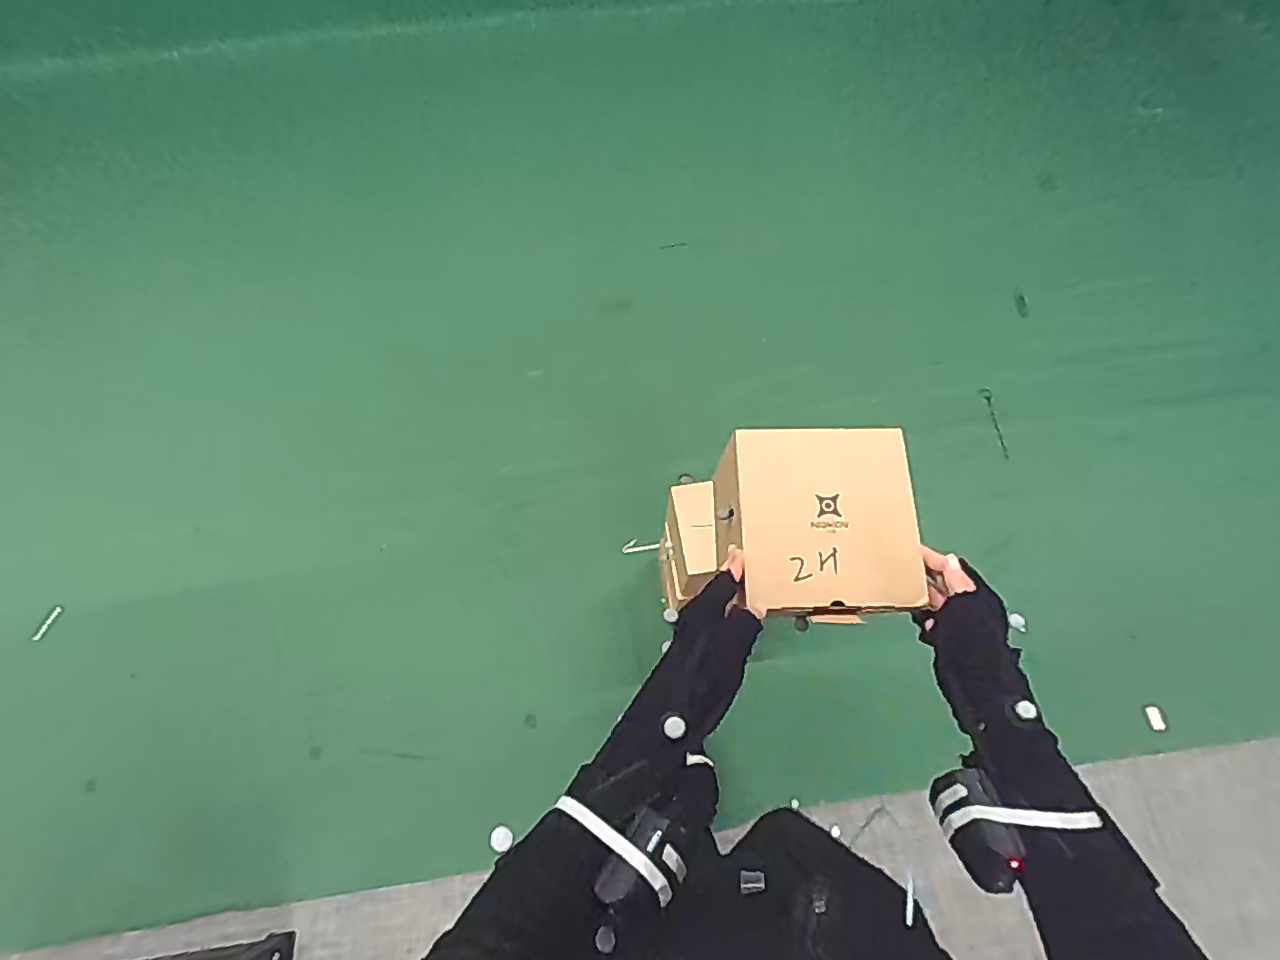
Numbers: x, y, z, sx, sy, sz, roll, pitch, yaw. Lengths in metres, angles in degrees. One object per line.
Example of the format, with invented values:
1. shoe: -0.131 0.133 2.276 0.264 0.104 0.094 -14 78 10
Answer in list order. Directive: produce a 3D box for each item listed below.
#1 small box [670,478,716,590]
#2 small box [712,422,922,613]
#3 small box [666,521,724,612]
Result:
1. small box: 0.155 0.102 1.010 0.179 0.176 0.168 -6 65 -3
2. small box: 0.171 0.049 0.583 0.168 0.176 0.179 -1 74 1
3. small box: 0.151 0.179 1.159 0.179 0.176 0.168 -7 67 -3
